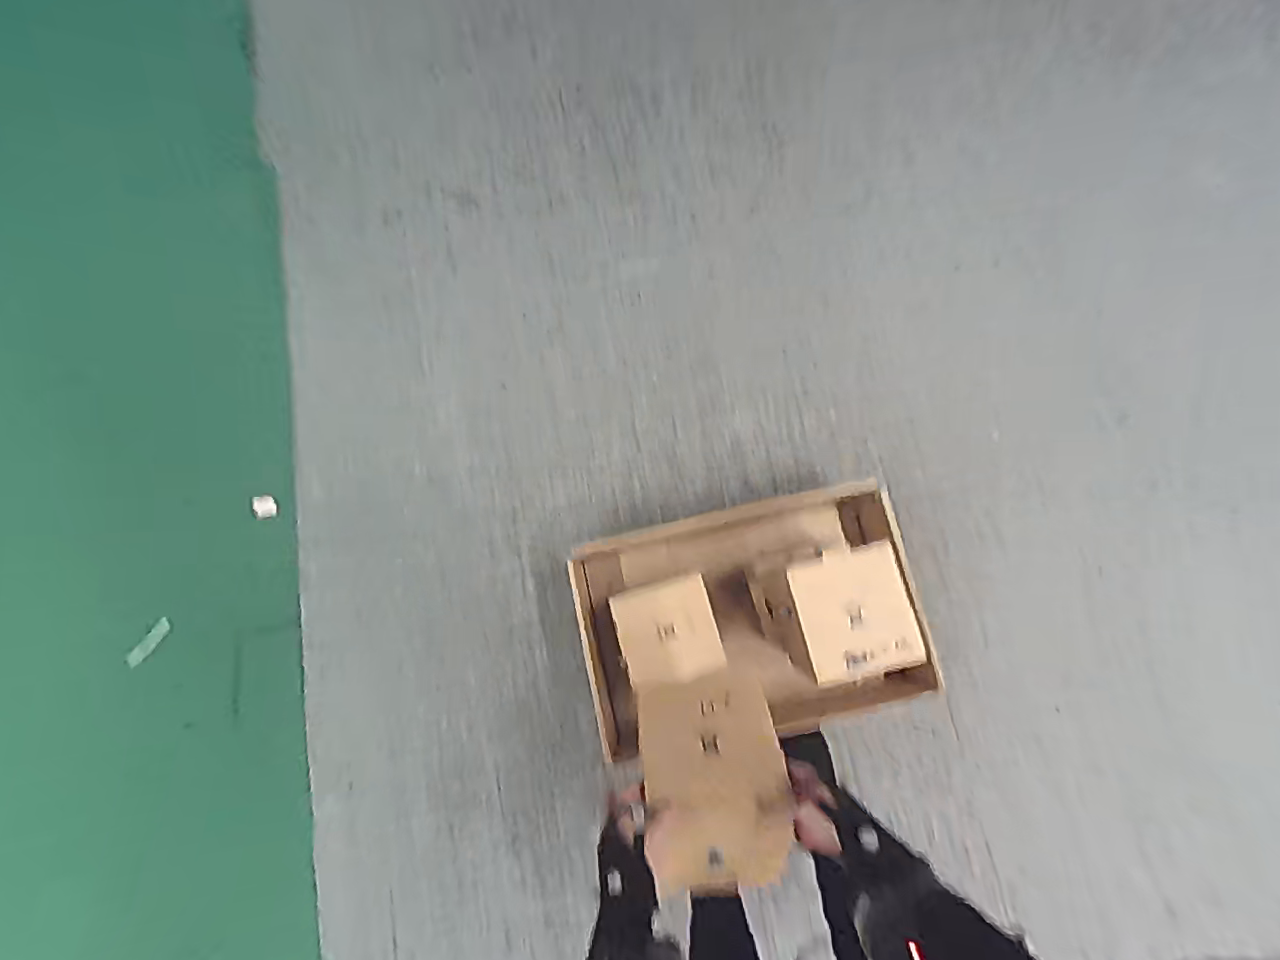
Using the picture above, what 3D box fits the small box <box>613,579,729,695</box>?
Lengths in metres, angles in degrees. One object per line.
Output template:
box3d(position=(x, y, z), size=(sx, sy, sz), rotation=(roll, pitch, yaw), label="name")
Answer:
box3d(position=(0.056, 0.295, 1.041), size=(0.179, 0.176, 0.168), rotation=(-15, 80, -3), label="small box")

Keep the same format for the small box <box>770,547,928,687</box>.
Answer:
box3d(position=(0.324, 0.218, 0.878), size=(0.168, 0.176, 0.179), rotation=(-14, 78, 0), label="small box")

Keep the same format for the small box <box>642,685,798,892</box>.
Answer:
box3d(position=(0.089, 0.389, 0.683), size=(0.168, 0.179, 0.176), rotation=(-2, 120, -2), label="small box")

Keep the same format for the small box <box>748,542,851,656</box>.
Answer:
box3d(position=(0.318, 0.227, 1.043), size=(0.179, 0.176, 0.168), rotation=(-17, 80, -1), label="small box")
